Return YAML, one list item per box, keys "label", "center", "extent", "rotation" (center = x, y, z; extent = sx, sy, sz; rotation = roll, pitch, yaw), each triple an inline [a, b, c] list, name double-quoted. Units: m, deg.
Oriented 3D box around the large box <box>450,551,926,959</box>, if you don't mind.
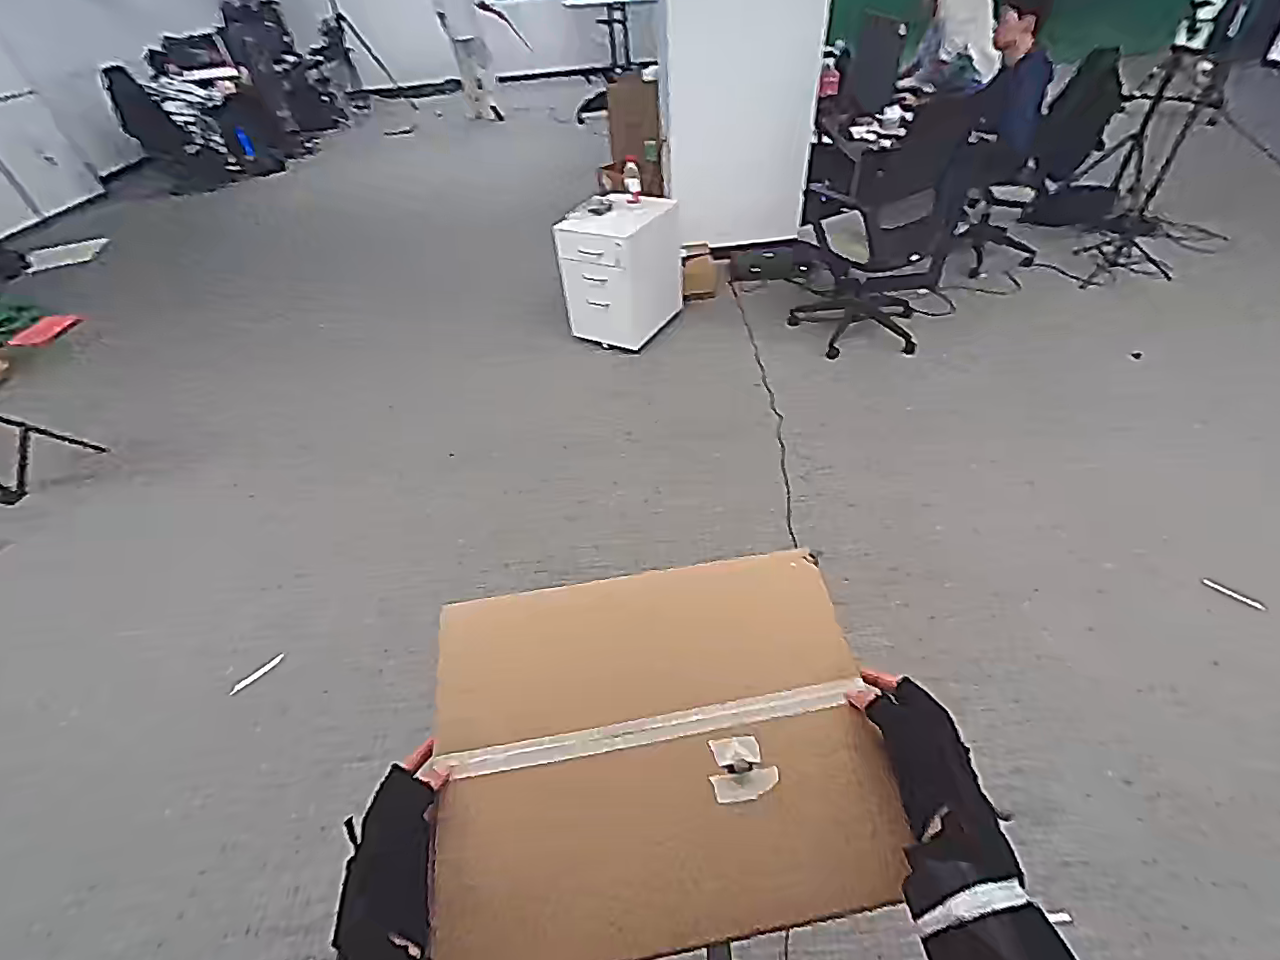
- label: "large box"
  center: [0.022, 0.319, 0.638]
  extent: [0.408, 0.320, 0.320]
  rotation: [-8, 56, -5]
